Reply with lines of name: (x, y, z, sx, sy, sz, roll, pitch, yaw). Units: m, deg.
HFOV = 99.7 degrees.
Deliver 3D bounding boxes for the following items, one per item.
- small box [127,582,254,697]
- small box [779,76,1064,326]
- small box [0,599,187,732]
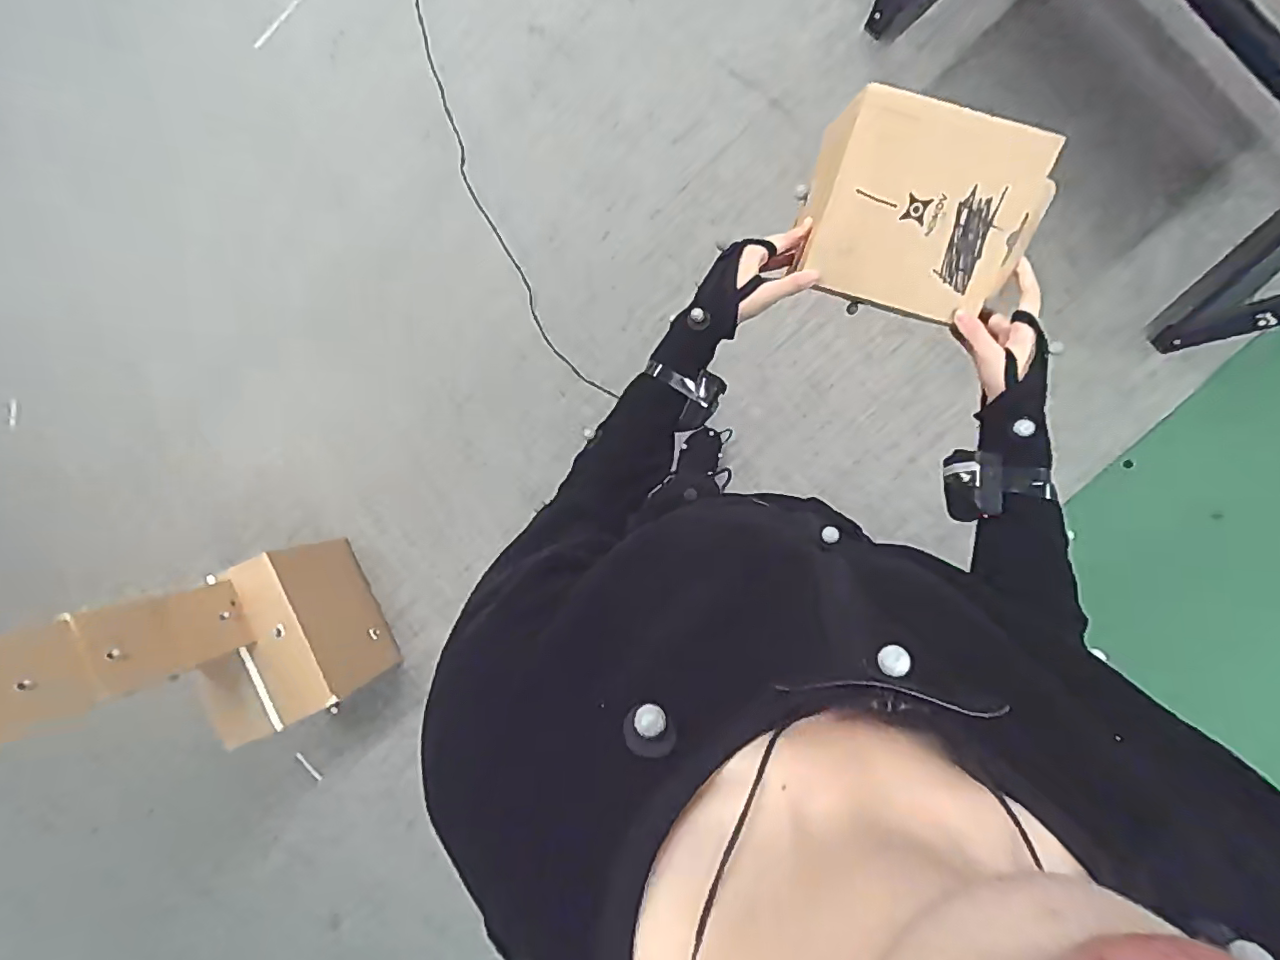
small box: (-1.025, 0.348, 1.208, 0.179, 0.176, 0.168, -24, 89, 6)
small box: (0.261, -0.272, 0.556, 0.179, 0.176, 0.168, 16, 112, 0)
small box: (-1.043, 0.344, 1.047, 0.168, 0.176, 0.179, -23, 90, 6)
